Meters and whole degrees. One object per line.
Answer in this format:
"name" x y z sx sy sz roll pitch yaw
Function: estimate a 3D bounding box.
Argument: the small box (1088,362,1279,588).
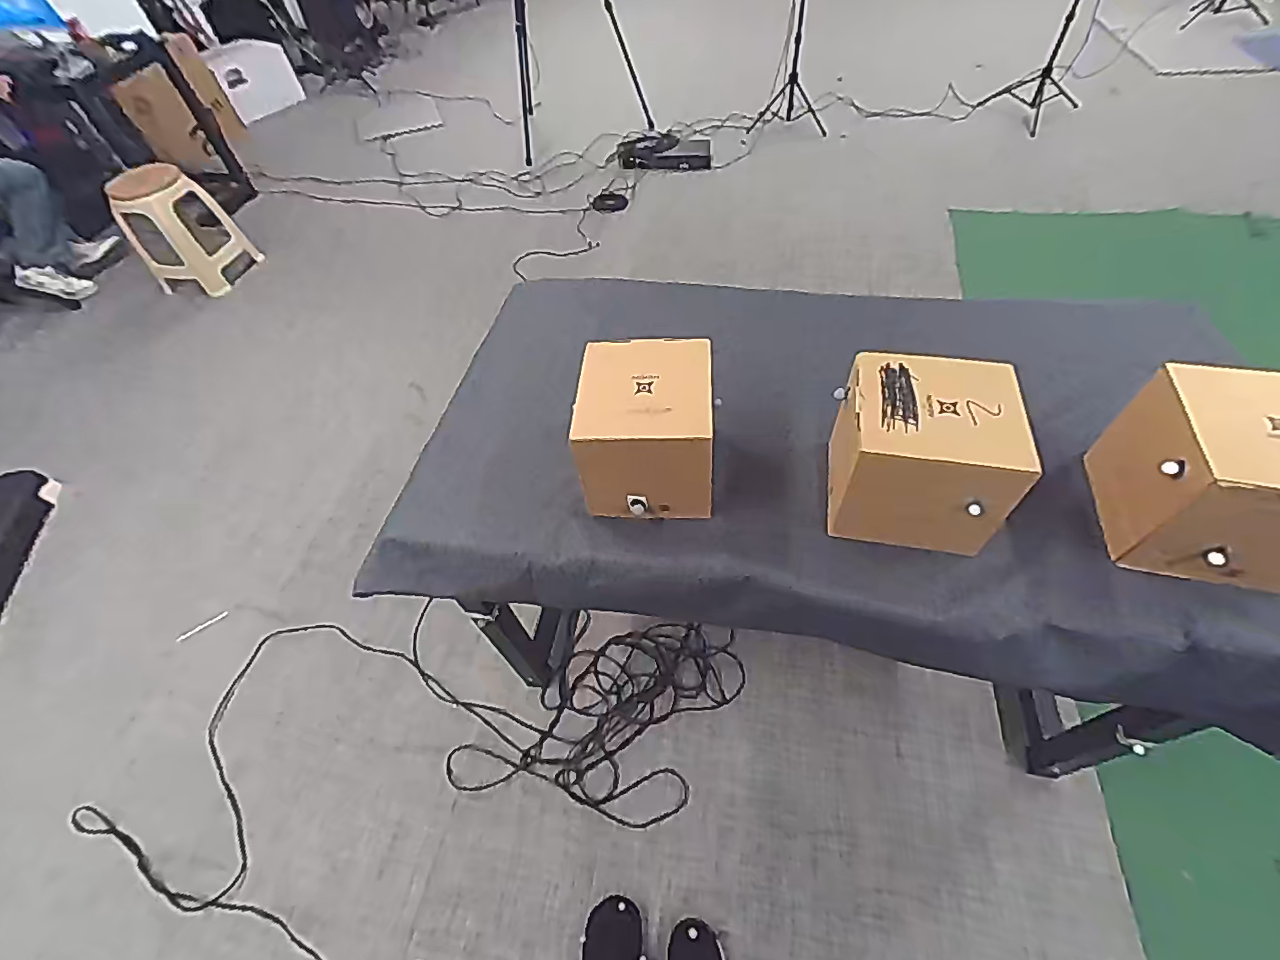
"small box" 0.654 -0.004 0.609 0.168 0.176 0.179 9 54 13

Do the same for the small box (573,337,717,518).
"small box" 0.015 -0.068 0.721 0.168 0.176 0.179 -1 53 6
